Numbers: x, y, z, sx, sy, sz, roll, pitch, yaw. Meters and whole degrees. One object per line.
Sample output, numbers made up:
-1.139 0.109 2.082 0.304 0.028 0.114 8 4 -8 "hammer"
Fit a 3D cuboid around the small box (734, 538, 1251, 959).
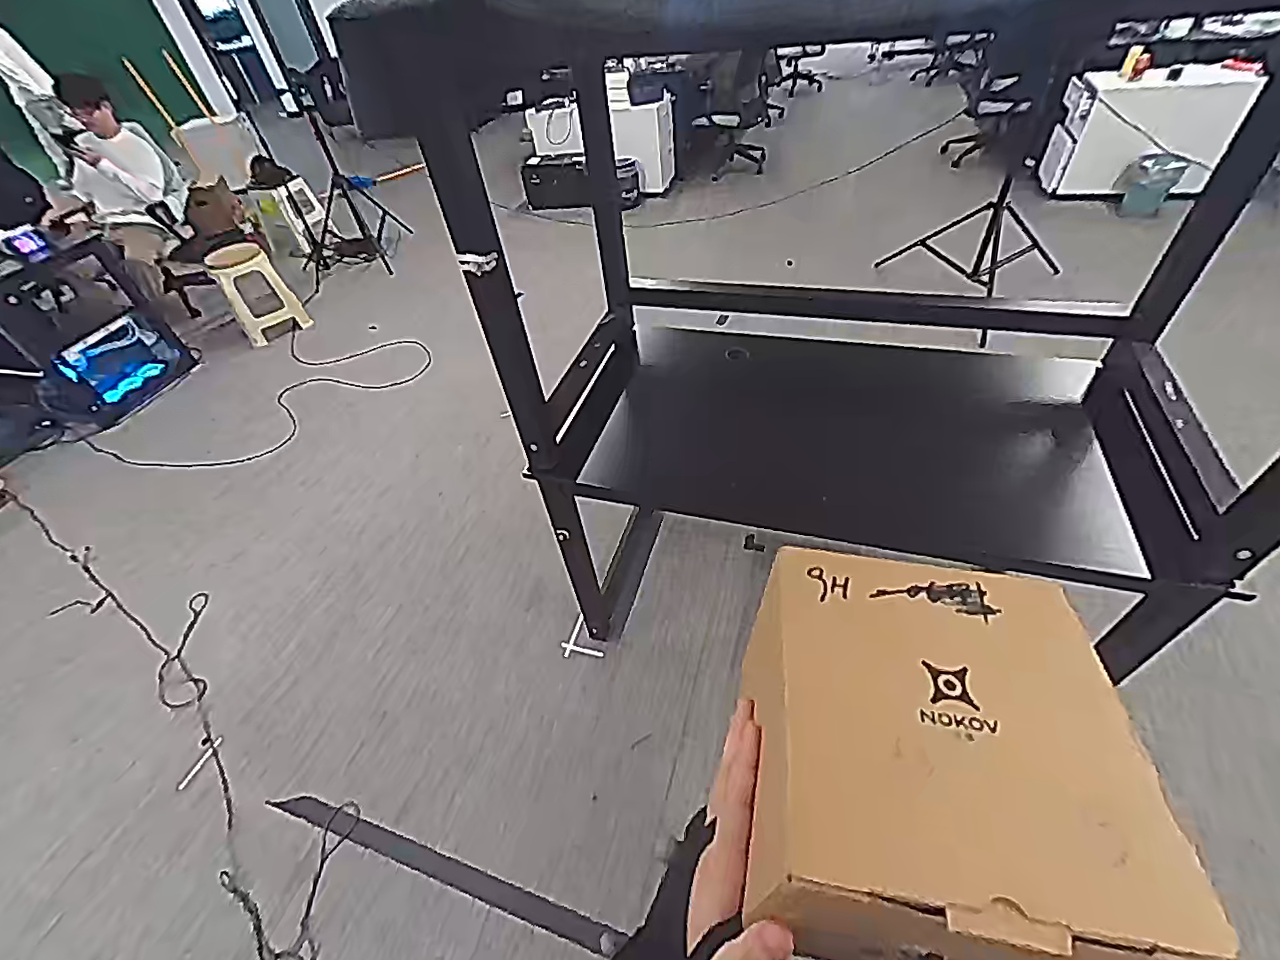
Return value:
0.151 0.162 0.314 0.168 0.176 0.179 8 45 5 "small box"
